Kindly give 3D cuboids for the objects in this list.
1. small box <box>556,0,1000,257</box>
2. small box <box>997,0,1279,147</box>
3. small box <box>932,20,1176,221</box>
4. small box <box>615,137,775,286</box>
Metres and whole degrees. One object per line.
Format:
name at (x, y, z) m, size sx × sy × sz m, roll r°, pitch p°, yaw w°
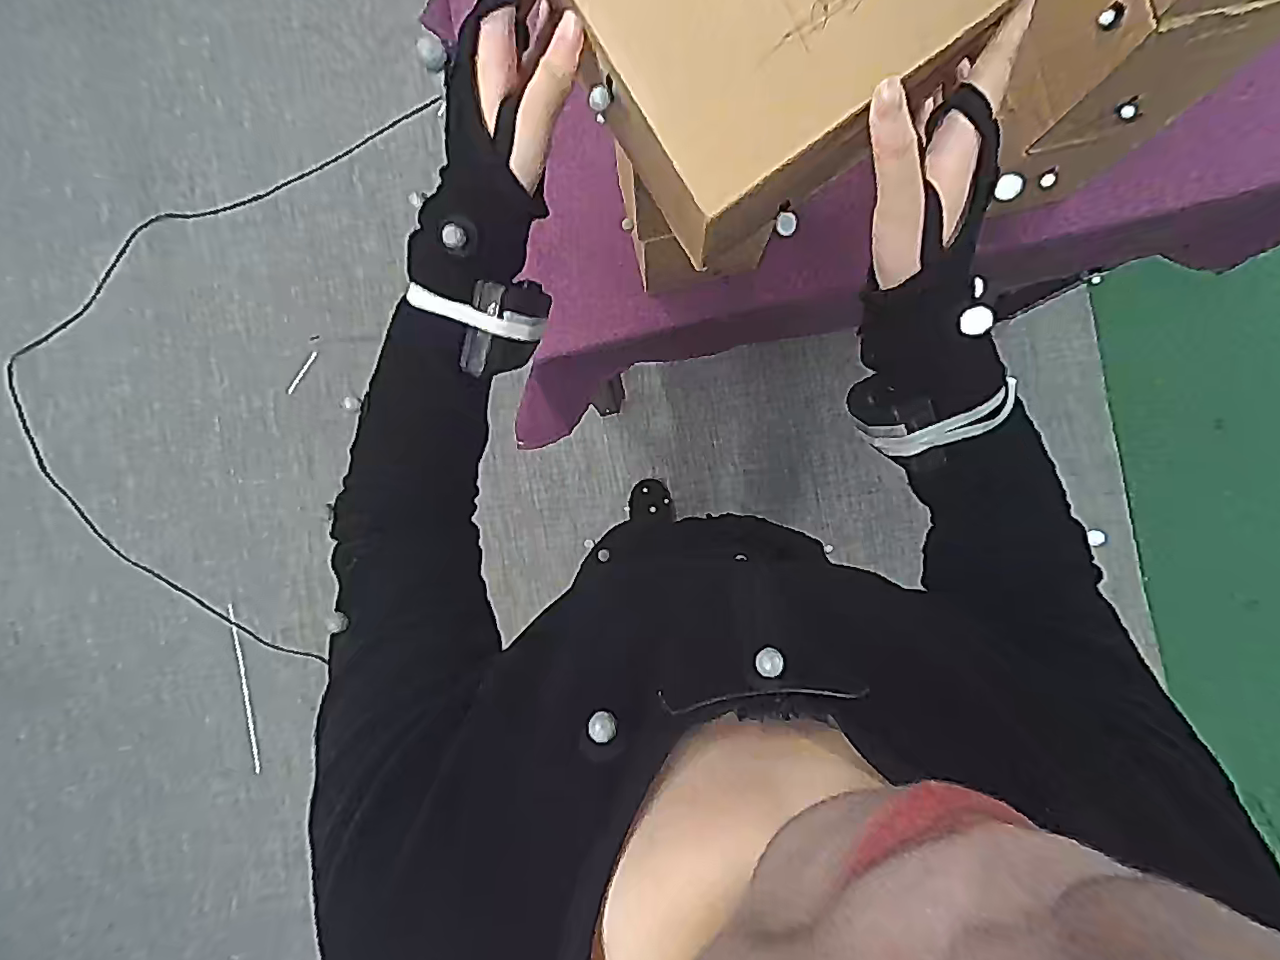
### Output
small box at (0.057, -0.262, 0.315) m, size 0.168 × 0.176 × 0.179 m, roll -31°, pitch 97°, yaw 11°
small box at (0.493, -0.475, 0.532) m, size 0.168 × 0.176 × 0.179 m, roll -12°, pitch 88°, yaw 1°
small box at (0.505, -0.464, 0.694) m, size 0.179 × 0.176 × 0.168 m, roll -14°, pitch 88°, yaw 3°
small box at (0.067, -0.373, 0.708) m, size 0.168 × 0.176 × 0.179 m, roll -13°, pitch 88°, yaw 1°
